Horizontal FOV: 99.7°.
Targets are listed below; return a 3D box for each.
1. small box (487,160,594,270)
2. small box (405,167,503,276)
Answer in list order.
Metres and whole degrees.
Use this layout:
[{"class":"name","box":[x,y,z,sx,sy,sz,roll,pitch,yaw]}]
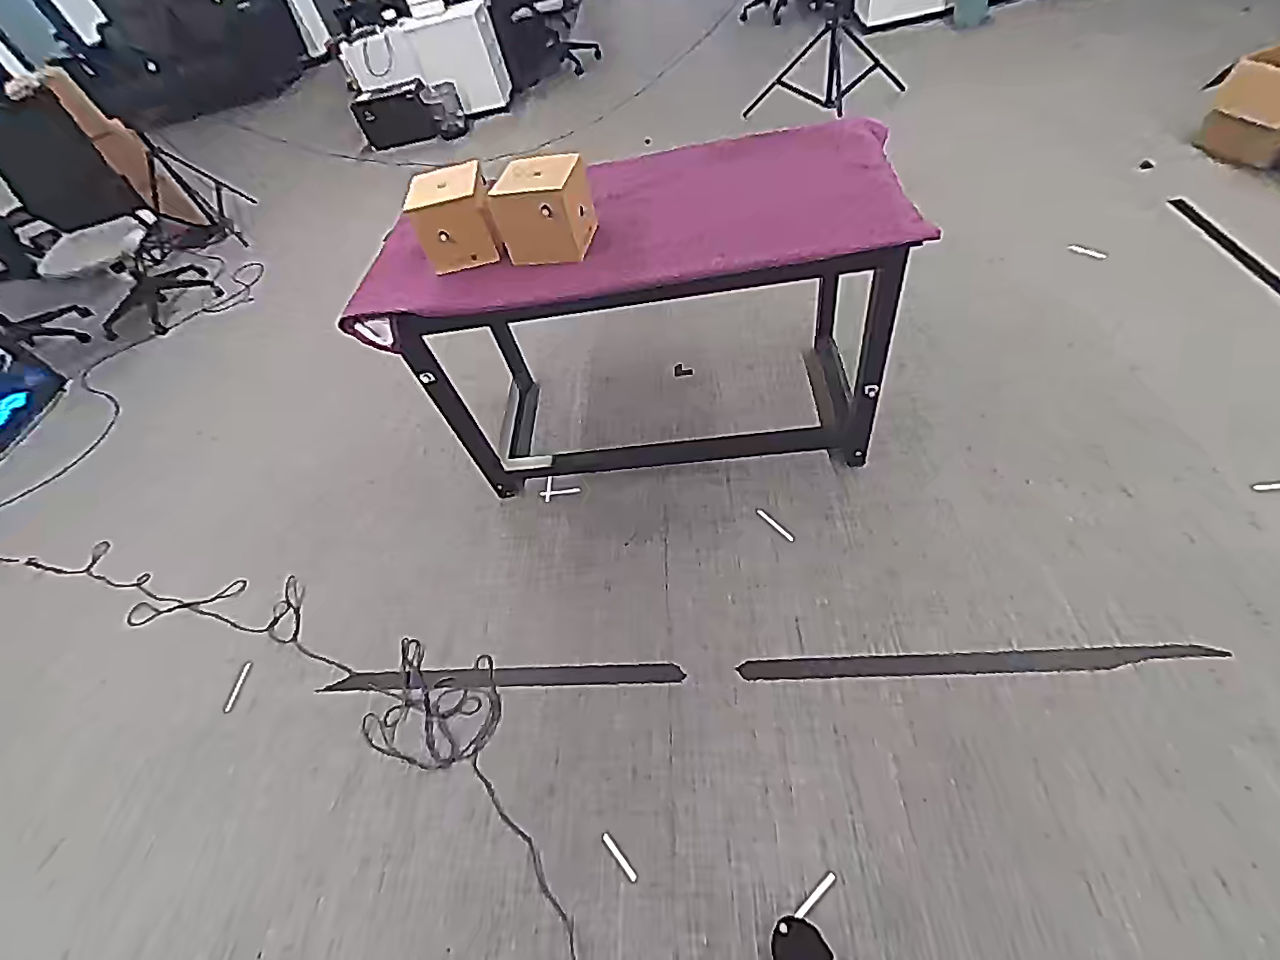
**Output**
[{"class":"small box","box":[-0.218,-0.609,1.252,0.179,0.176,0.168,2,53,15]},{"class":"small box","box":[-0.442,-0.618,1.314,0.168,0.176,0.179,-12,52,4]}]
